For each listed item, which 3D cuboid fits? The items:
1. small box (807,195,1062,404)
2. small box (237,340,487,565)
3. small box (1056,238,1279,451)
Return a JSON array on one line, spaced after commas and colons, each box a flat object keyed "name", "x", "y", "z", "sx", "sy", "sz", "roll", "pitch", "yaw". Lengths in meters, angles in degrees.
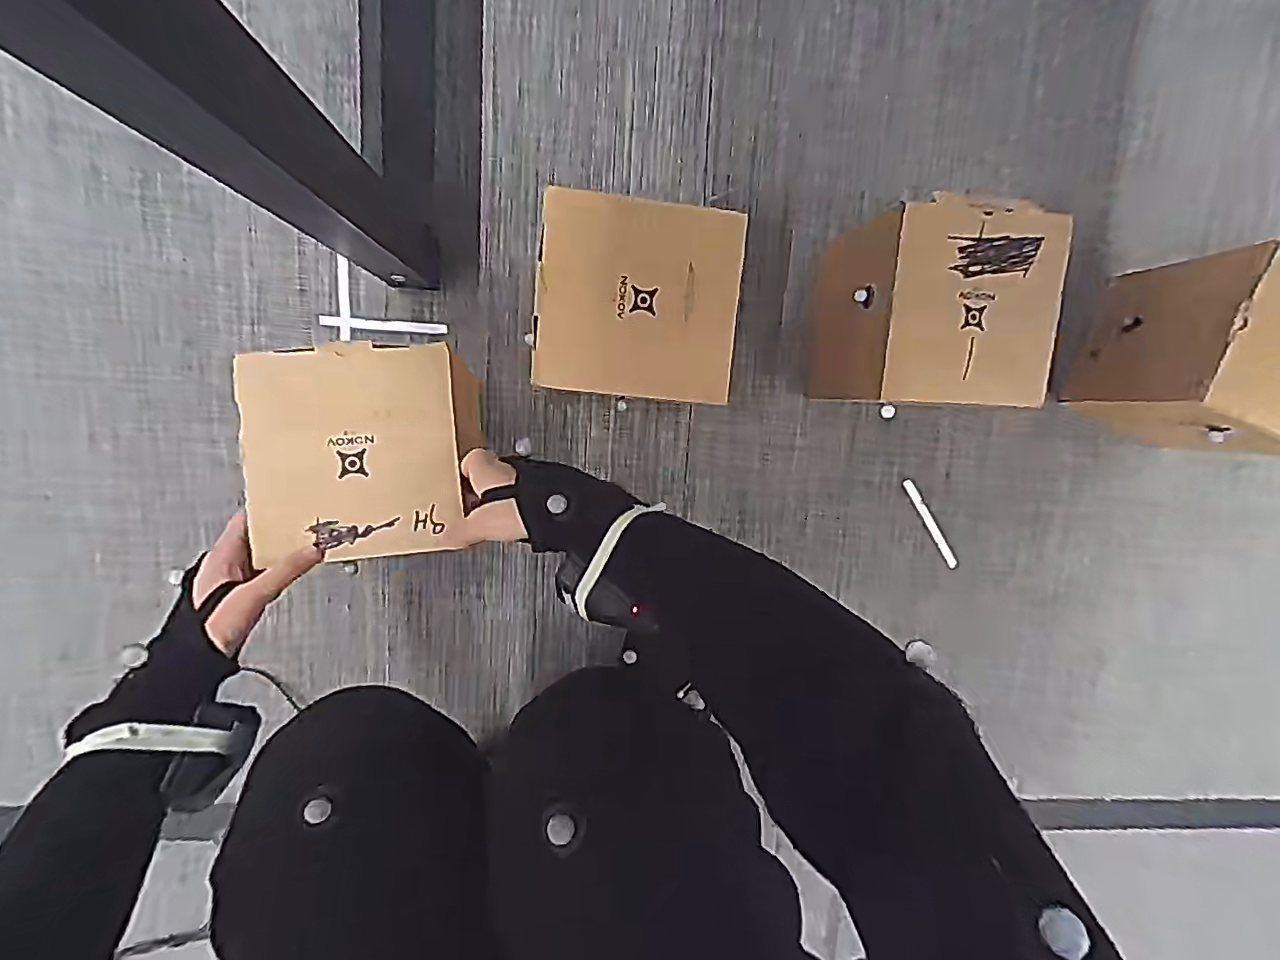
[{"name": "small box", "x": 0.290, "y": -0.172, "z": 0.571, "sx": 0.168, "sy": 0.176, "sz": 0.179, "roll": 1, "pitch": 98, "yaw": -6}, {"name": "small box", "x": -0.245, "y": -0.022, "z": 0.518, "sx": 0.168, "sy": 0.176, "sz": 0.179, "roll": -6, "pitch": 90, "yaw": -10}, {"name": "small box", "x": 0.643, "y": -0.142, "z": 0.617, "sx": 0.179, "sy": 0.176, "sz": 0.168, "roll": 19, "pitch": 96, "yaw": -8}]
